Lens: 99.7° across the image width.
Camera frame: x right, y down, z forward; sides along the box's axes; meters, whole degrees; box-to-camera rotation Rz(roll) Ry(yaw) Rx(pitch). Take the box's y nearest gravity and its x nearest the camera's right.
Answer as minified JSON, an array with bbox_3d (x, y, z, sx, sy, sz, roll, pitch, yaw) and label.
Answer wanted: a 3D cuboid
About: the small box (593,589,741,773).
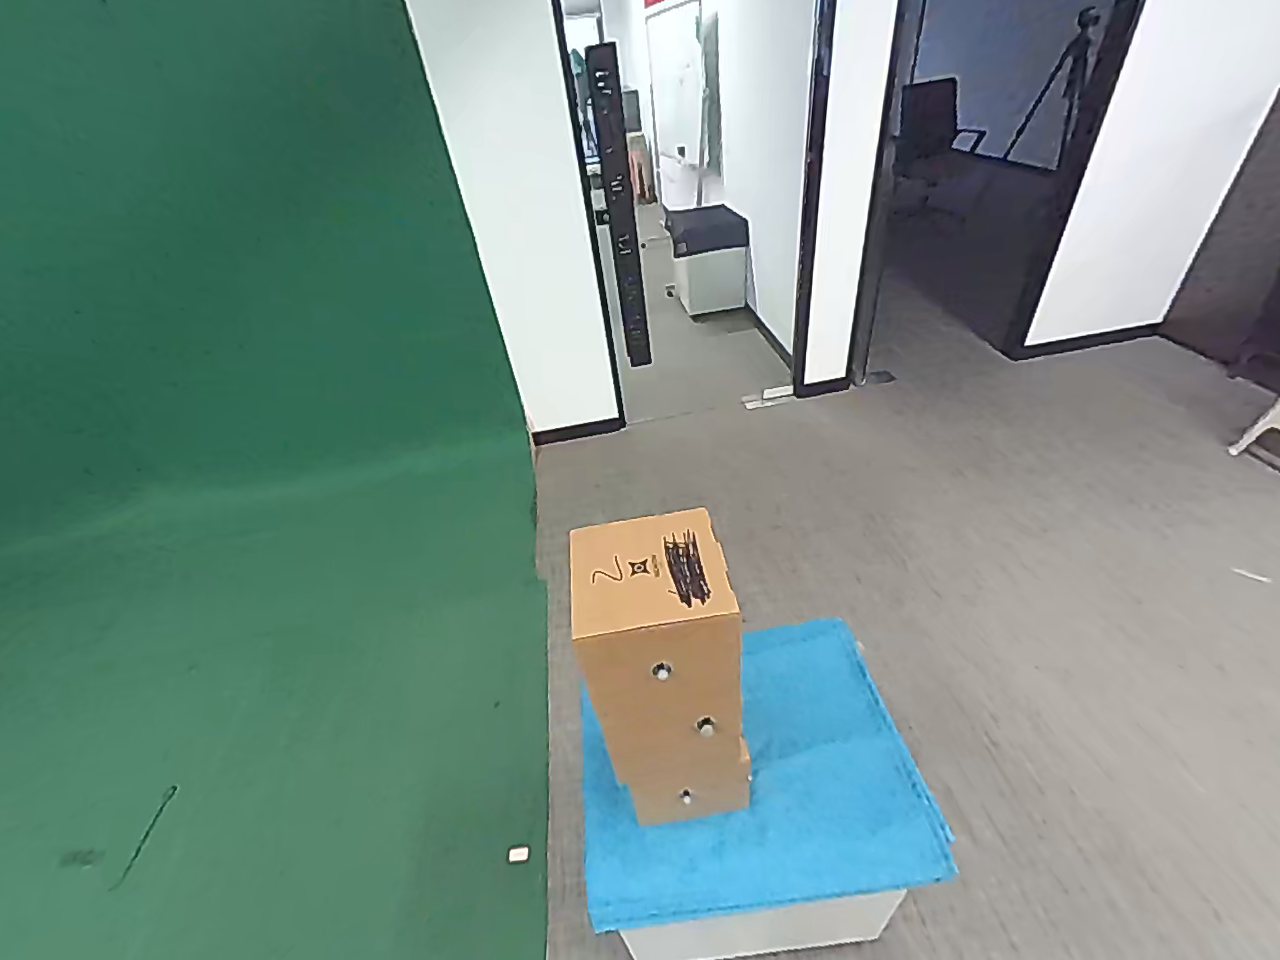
[{"bbox_3d":[0.034,0.279,0.752,0.179,0.176,0.168,-9,38,-1],"label":"small box"}]

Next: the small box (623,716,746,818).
[{"bbox_3d":[0.062,0.404,0.855,0.179,0.176,0.168,-9,38,-1],"label":"small box"}]
